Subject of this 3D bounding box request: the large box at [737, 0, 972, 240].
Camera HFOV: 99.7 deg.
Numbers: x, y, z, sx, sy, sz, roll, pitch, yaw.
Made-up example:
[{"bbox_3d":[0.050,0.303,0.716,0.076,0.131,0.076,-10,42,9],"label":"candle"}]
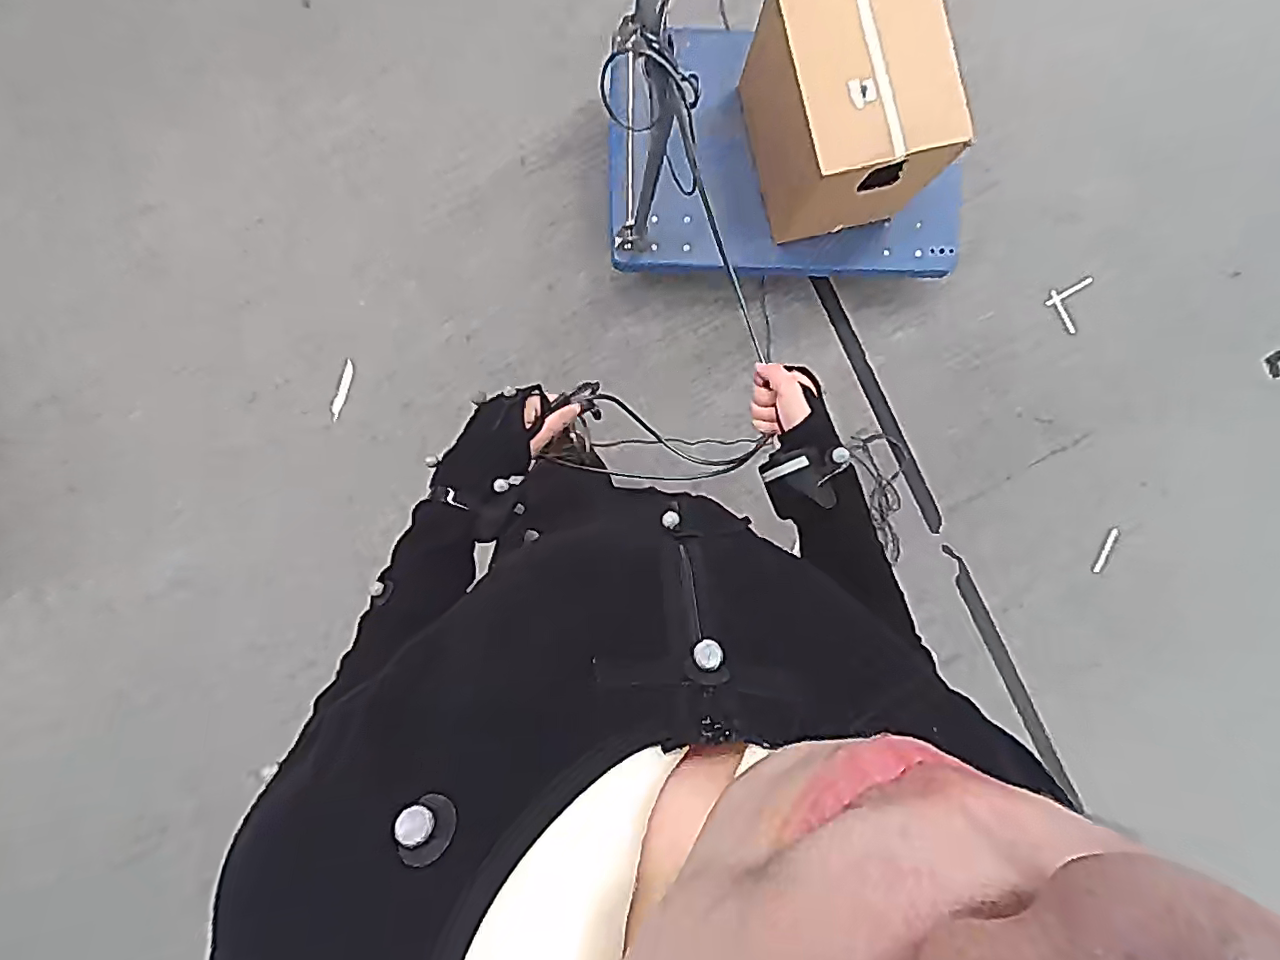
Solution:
[{"bbox_3d":[0.434,-0.809,1.173,0.320,0.320,0.408,-14,93,-1],"label":"large box"}]
